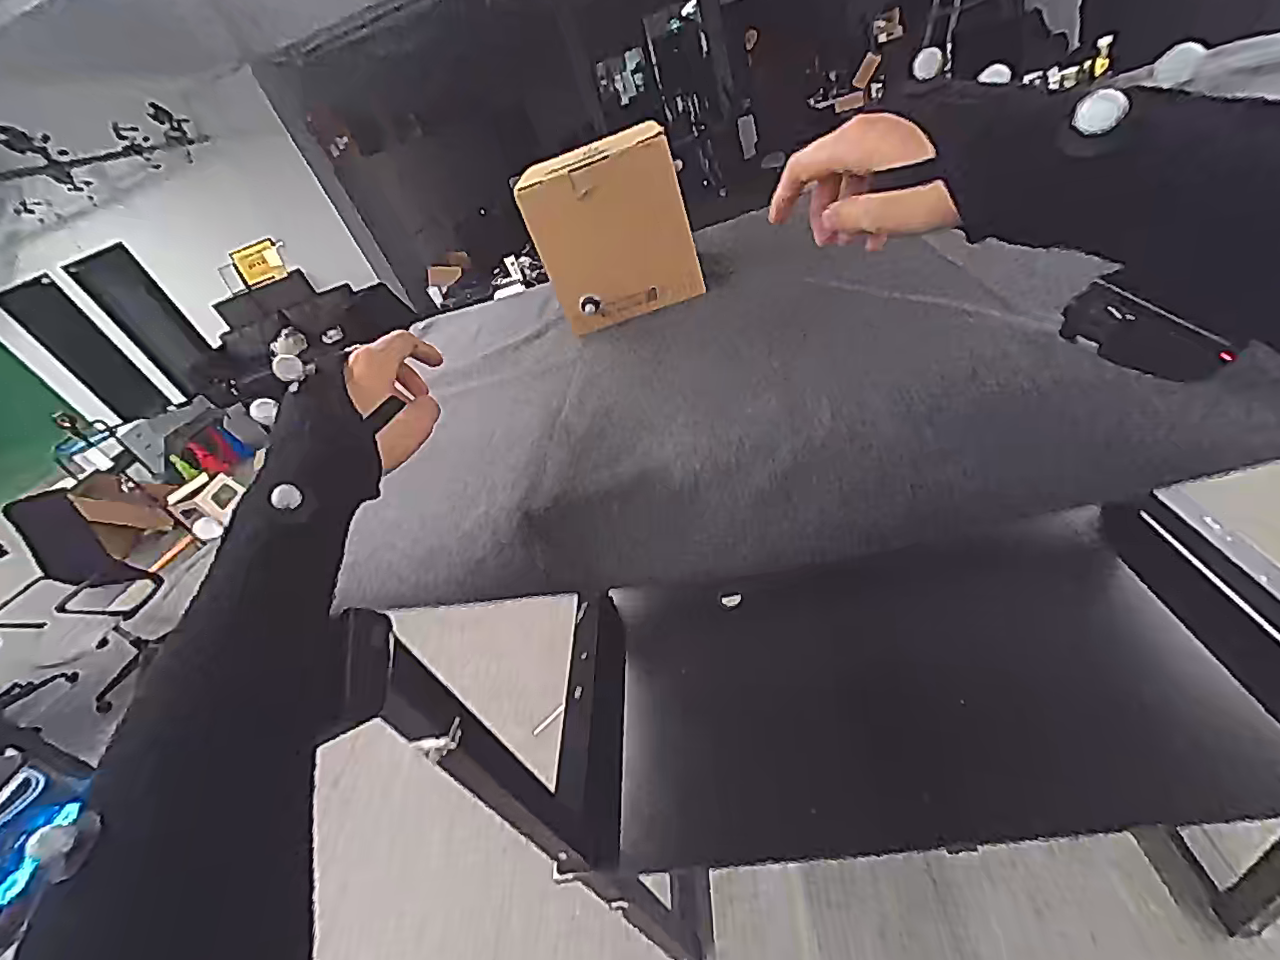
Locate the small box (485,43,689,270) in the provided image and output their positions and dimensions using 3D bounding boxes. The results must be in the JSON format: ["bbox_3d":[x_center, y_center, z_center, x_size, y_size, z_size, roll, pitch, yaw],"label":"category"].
[{"bbox_3d":[-0.050,-0.358,0.610,0.168,0.176,0.179,-16,36,8],"label":"small box"}]
